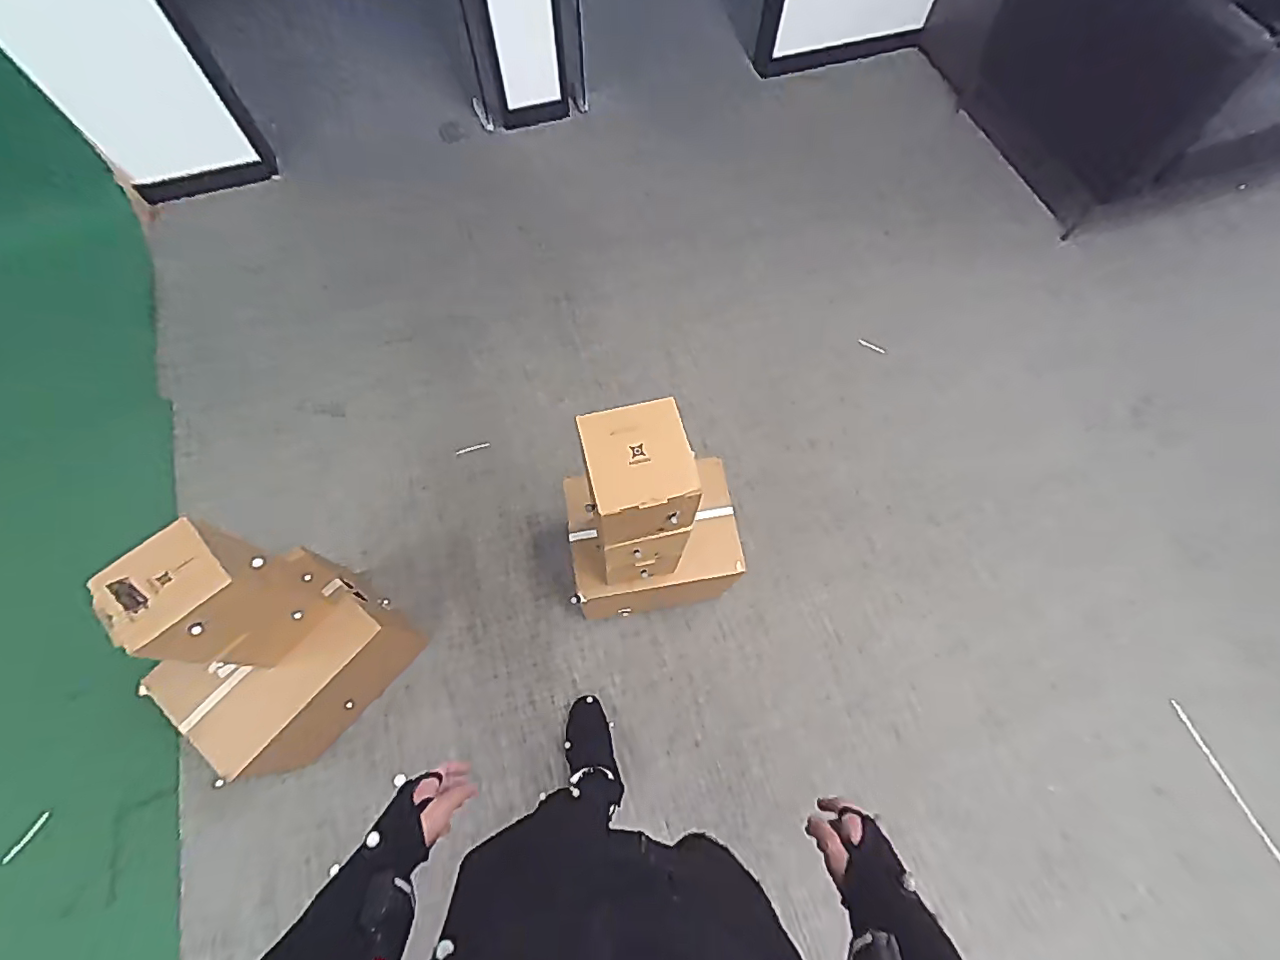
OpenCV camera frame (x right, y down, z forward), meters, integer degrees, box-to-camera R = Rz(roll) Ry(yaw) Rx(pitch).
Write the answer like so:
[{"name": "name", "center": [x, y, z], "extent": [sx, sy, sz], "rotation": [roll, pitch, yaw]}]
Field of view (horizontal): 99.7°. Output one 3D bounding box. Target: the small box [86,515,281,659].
[{"name": "small box", "center": [-0.802, 0.199, 0.969], "extent": [0.179, 0.176, 0.168], "rotation": [-41, 74, -17]}]

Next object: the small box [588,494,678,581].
[{"name": "small box", "center": [-0.018, 0.121, 1.211], "extent": [0.168, 0.176, 0.179], "rotation": [-11, 69, -7]}]

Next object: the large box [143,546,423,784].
[{"name": "large box", "center": [-0.822, 0.436, 1.314], "extent": [0.320, 0.320, 0.408], "rotation": [37, 72, 13]}]

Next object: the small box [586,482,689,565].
[{"name": "small box", "center": [-0.010, 0.059, 1.060], "extent": [0.168, 0.176, 0.179], "rotation": [-12, 68, -7]}]

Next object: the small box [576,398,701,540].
[{"name": "small box", "center": [-0.006, -0.009, 0.912], "extent": [0.168, 0.176, 0.179], "rotation": [-12, 68, -8]}]
